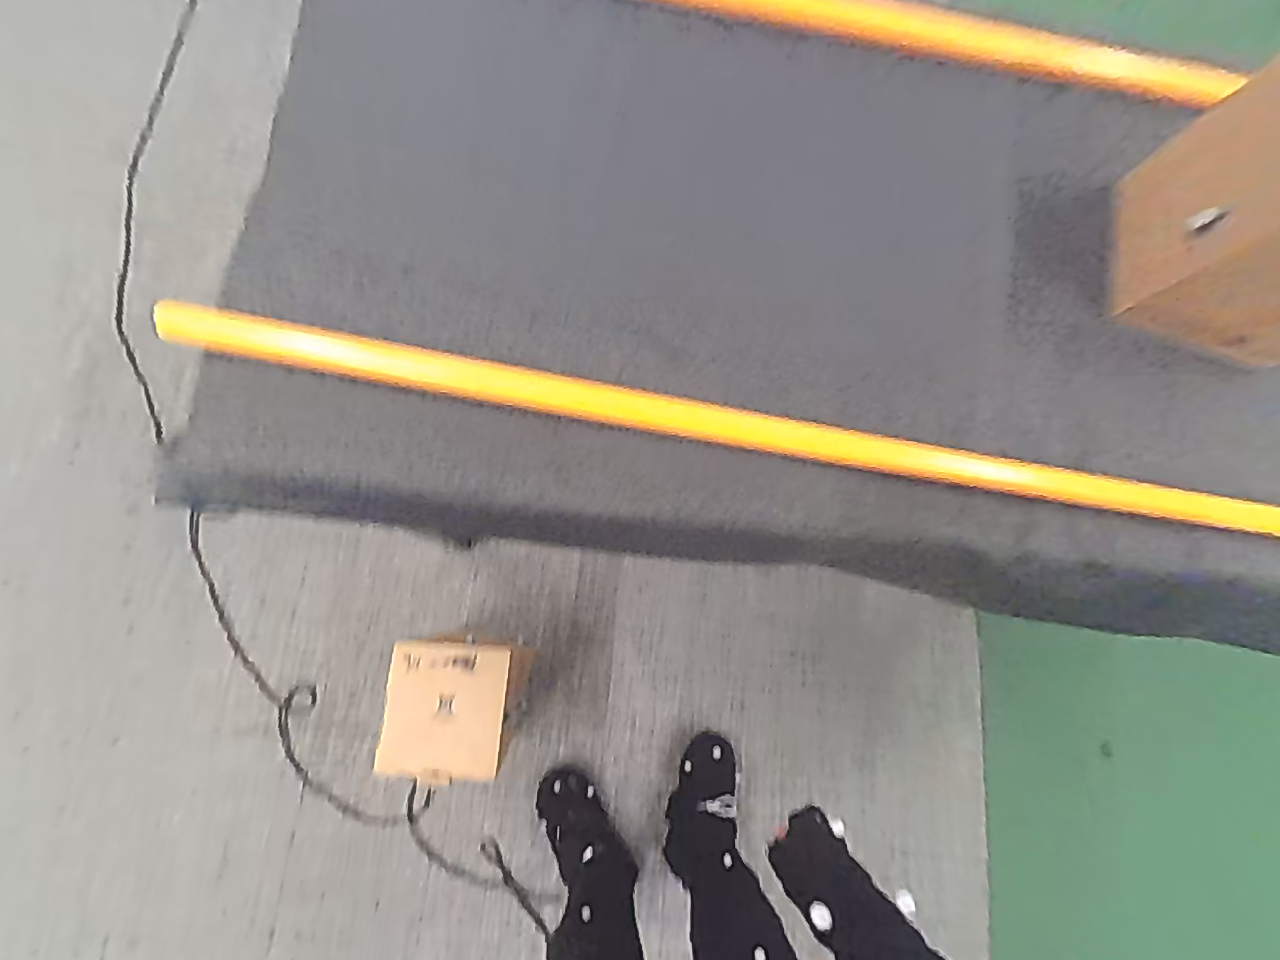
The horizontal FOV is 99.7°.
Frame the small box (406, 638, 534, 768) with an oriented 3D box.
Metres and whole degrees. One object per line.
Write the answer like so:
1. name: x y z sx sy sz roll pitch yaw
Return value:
1. small box: -0.296 0.395 0.988 0.168 0.176 0.179 14 76 -2
